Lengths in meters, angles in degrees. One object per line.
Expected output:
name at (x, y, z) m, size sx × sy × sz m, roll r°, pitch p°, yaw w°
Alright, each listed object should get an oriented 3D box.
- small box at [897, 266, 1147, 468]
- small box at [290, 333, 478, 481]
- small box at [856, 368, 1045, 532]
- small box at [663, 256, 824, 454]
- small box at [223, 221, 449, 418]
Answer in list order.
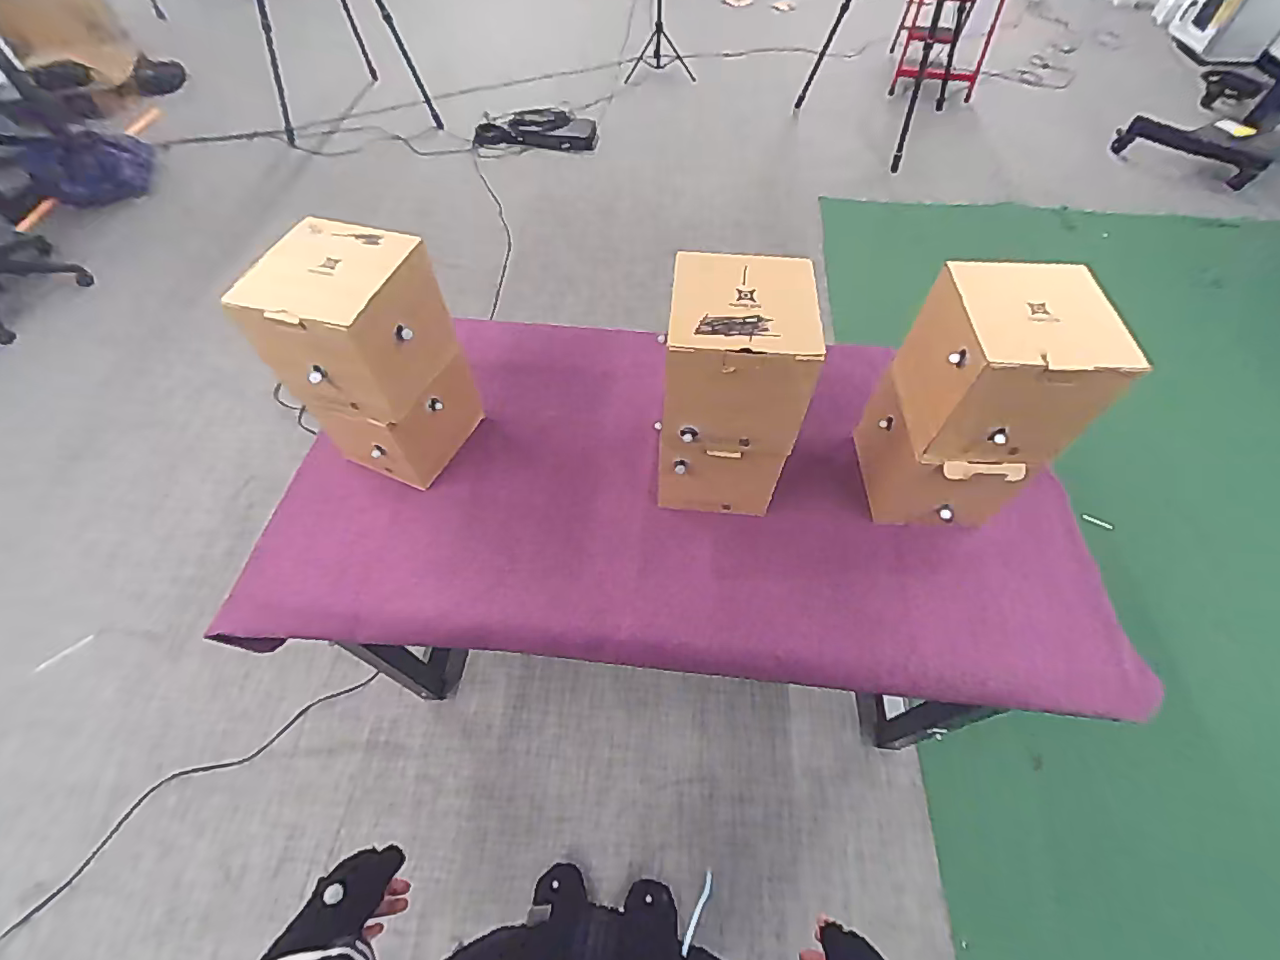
small box at (0.442, -0.135, 0.667) m, size 0.168 × 0.176 × 0.179 m, roll 3°, pitch 57°, yaw 1°
small box at (-0.374, -0.127, 0.830) m, size 0.168 × 0.176 × 0.179 m, roll 21°, pitch 59°, yaw 13°
small box at (0.437, -0.042, 0.800) m, size 0.168 × 0.176 × 0.179 m, roll 2°, pitch 57°, yaw 2°
small box at (0.118, -0.151, 0.672) m, size 0.168 × 0.176 × 0.179 m, roll 5°, pitch 55°, yaw 2°
small box at (-0.372, -0.204, 0.708) m, size 0.168 × 0.176 × 0.179 m, roll 10°, pitch 57°, yaw 7°
